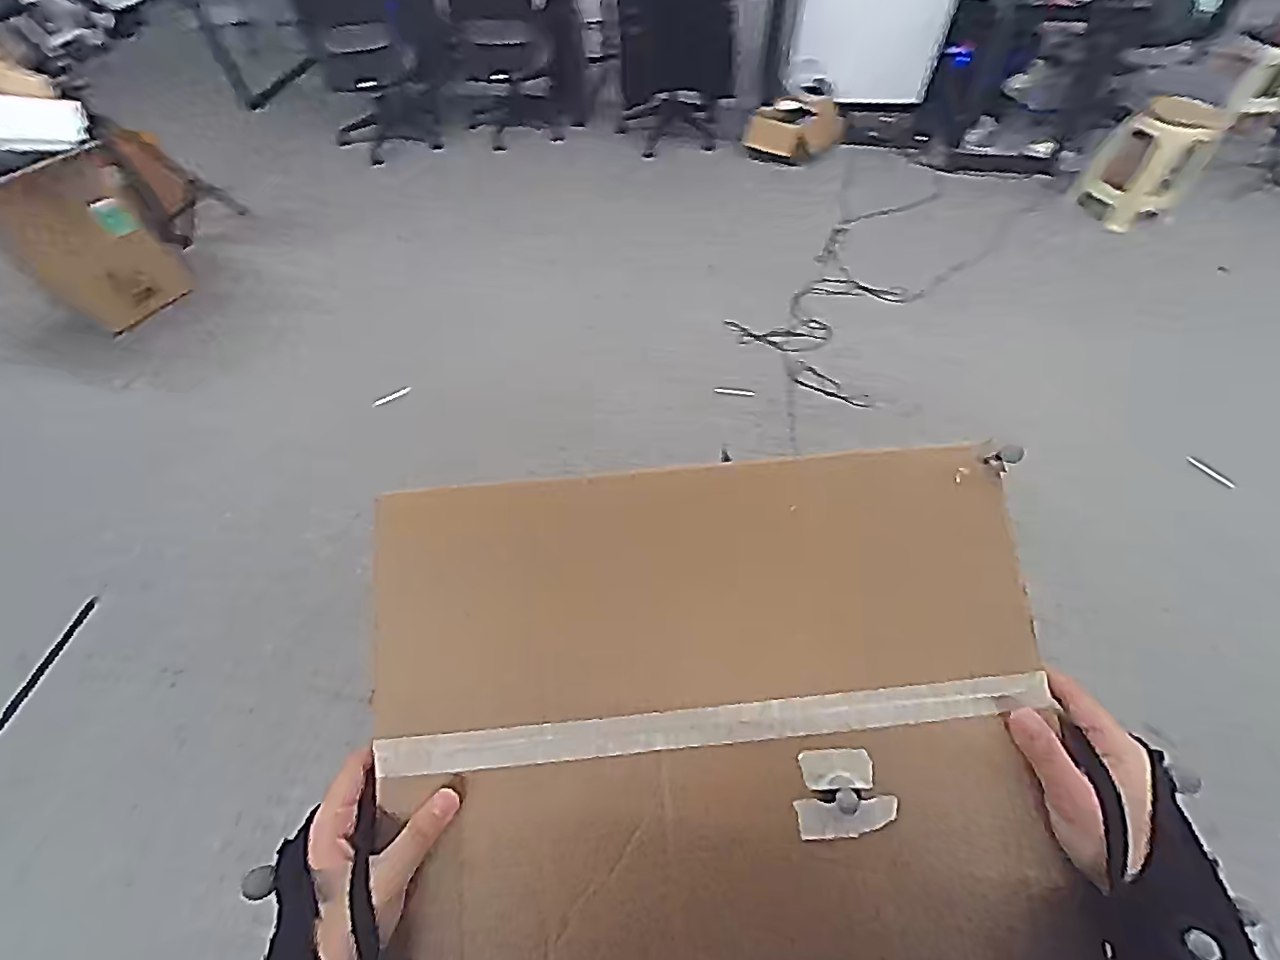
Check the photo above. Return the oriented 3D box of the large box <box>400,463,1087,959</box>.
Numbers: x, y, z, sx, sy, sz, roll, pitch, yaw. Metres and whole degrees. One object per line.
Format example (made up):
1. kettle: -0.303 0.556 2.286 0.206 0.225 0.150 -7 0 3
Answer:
1. large box: 0.048 0.182 0.481 0.408 0.320 0.320 -4 81 -2
